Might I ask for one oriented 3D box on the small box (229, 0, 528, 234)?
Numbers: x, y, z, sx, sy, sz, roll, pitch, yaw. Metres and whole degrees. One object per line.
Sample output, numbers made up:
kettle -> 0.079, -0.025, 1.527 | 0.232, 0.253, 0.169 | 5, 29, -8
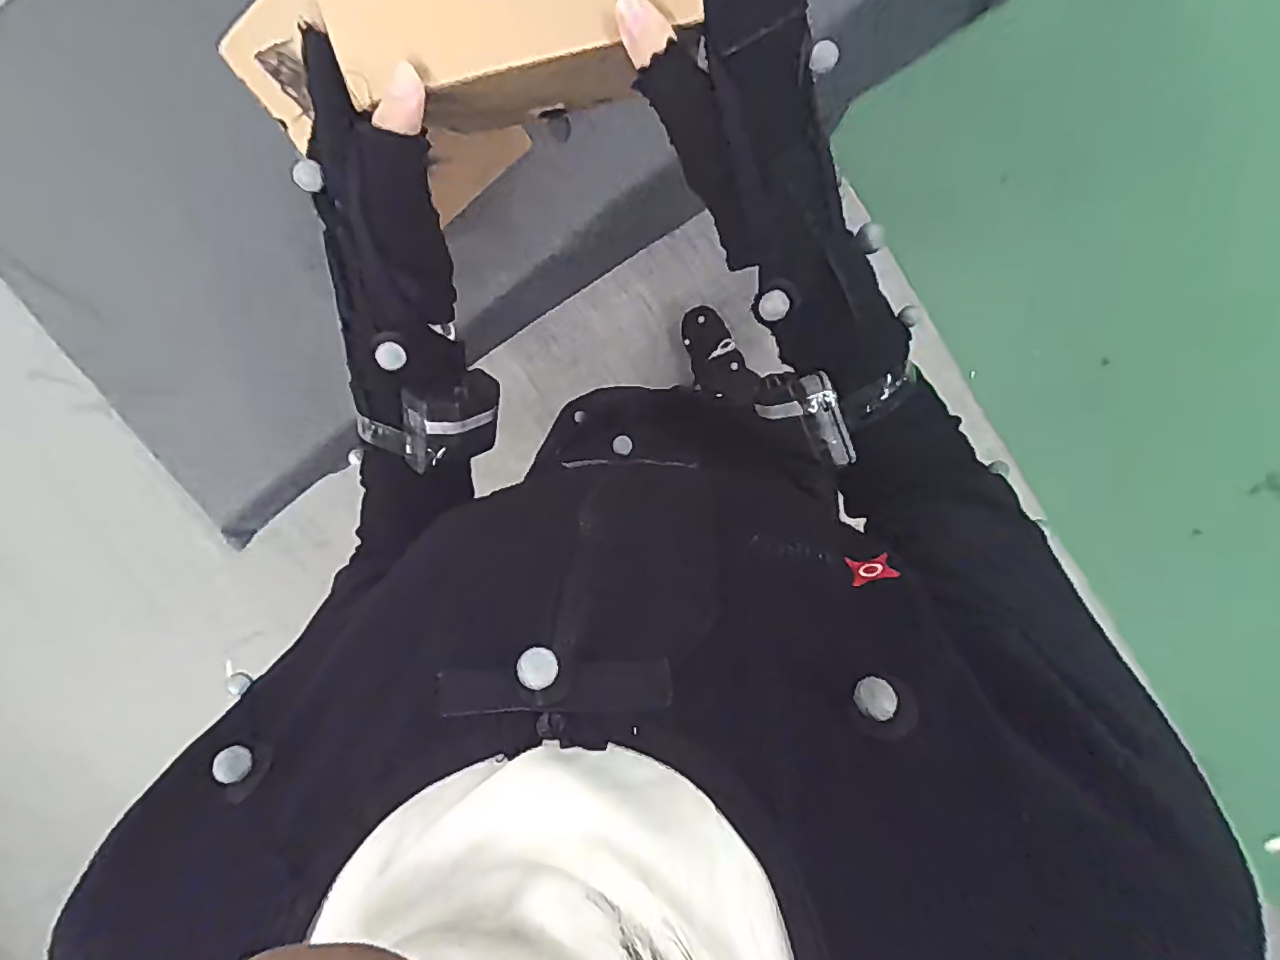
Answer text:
small box -> -0.244, -0.384, 0.550 | 0.179, 0.176, 0.168 | -35, 97, 11

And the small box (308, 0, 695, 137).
small box -> -0.063, -0.294, 0.273 | 0.168, 0.176, 0.179 | -5, 118, 9
